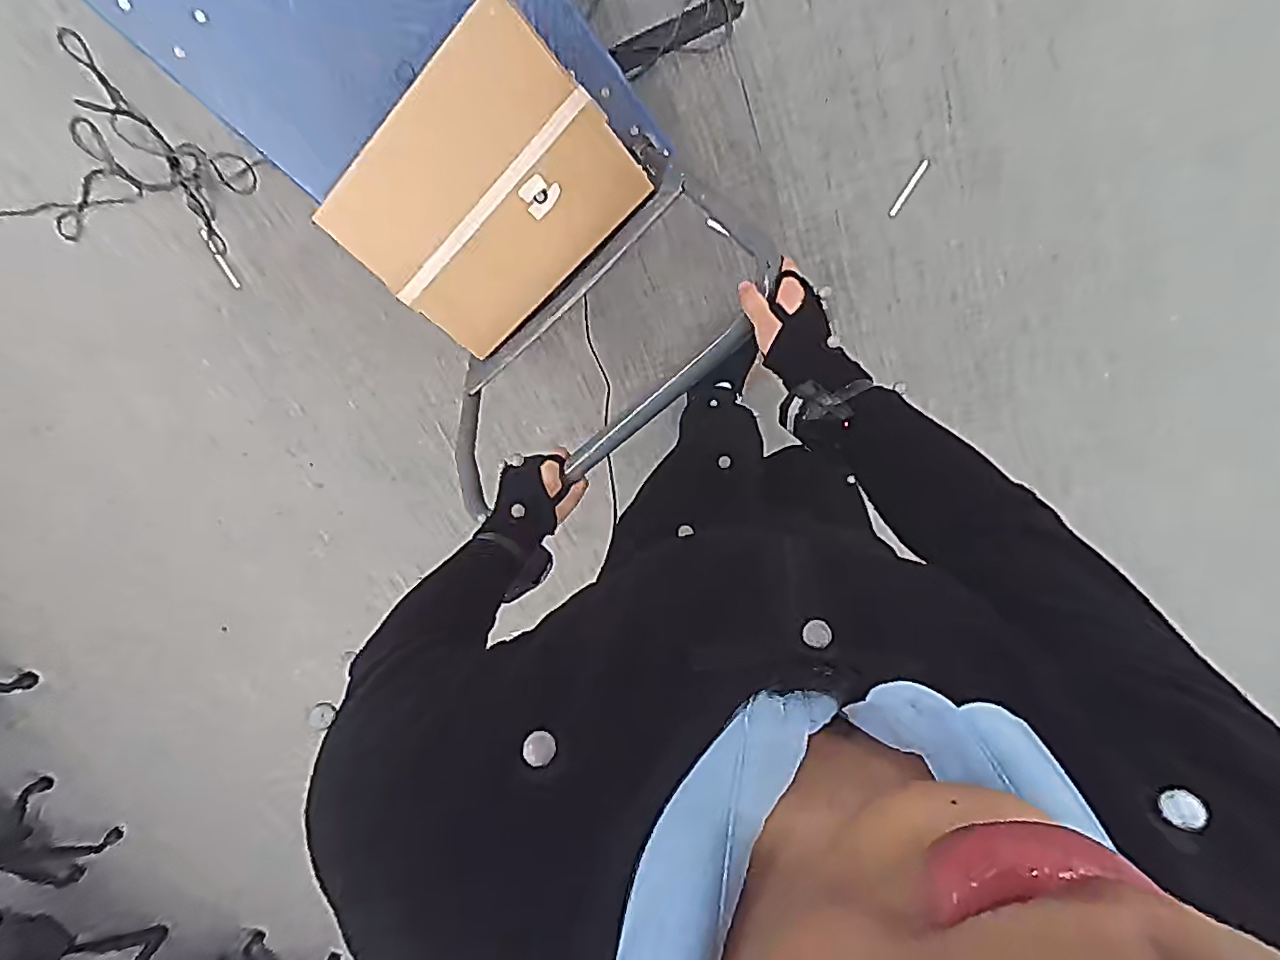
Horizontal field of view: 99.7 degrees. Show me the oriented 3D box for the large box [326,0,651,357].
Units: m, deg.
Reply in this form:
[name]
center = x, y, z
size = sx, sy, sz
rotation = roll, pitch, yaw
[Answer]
[large box]
center = -0.244, -0.499, 0.933
size = 0.408, 0.320, 0.320
rotation = -40, 122, 17
